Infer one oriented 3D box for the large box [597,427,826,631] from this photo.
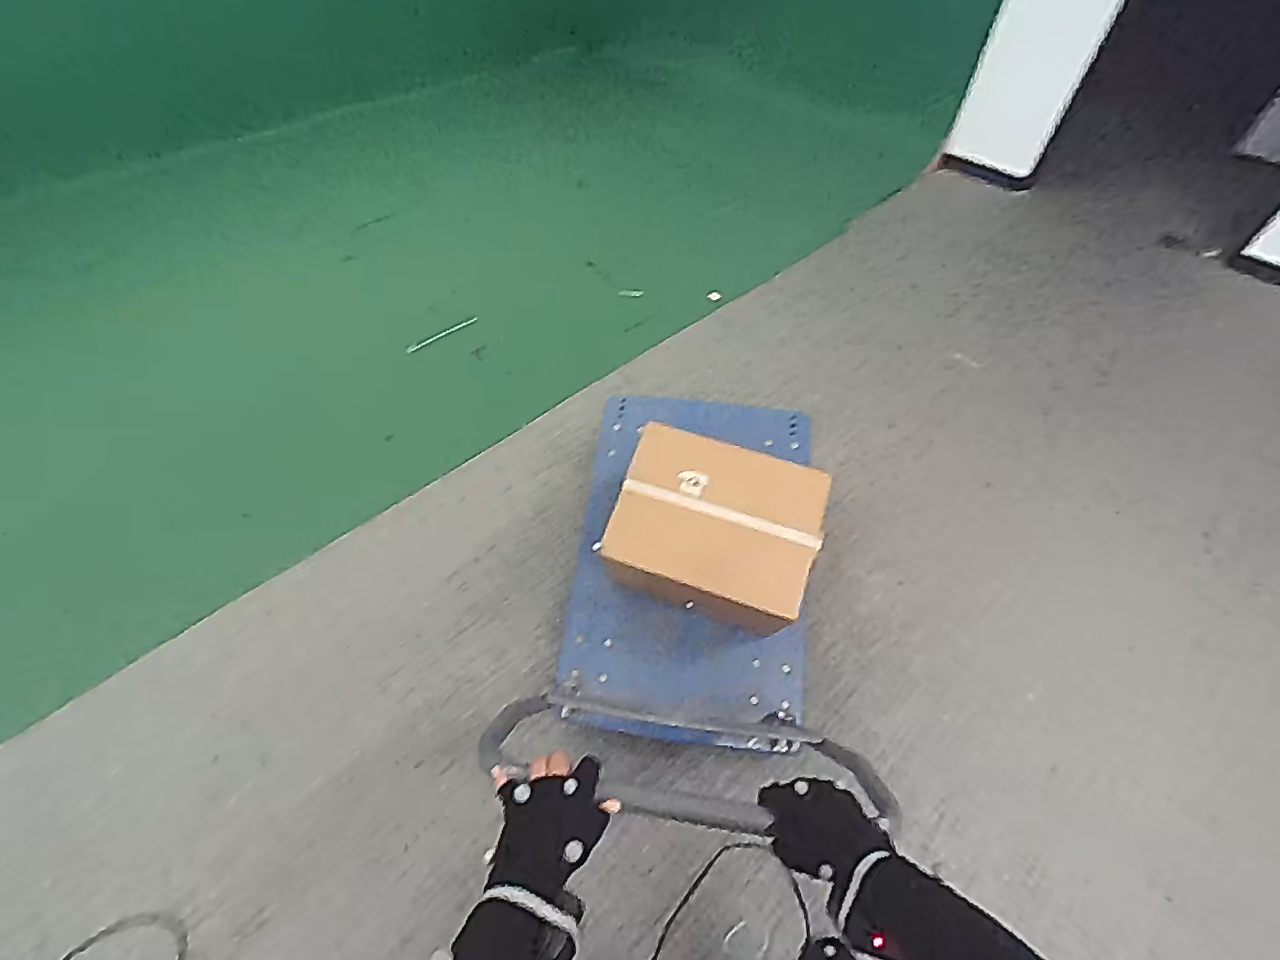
[{"bbox_3d":[0.160,0.124,1.233,0.408,0.320,0.320,17,71,10],"label":"large box"}]
